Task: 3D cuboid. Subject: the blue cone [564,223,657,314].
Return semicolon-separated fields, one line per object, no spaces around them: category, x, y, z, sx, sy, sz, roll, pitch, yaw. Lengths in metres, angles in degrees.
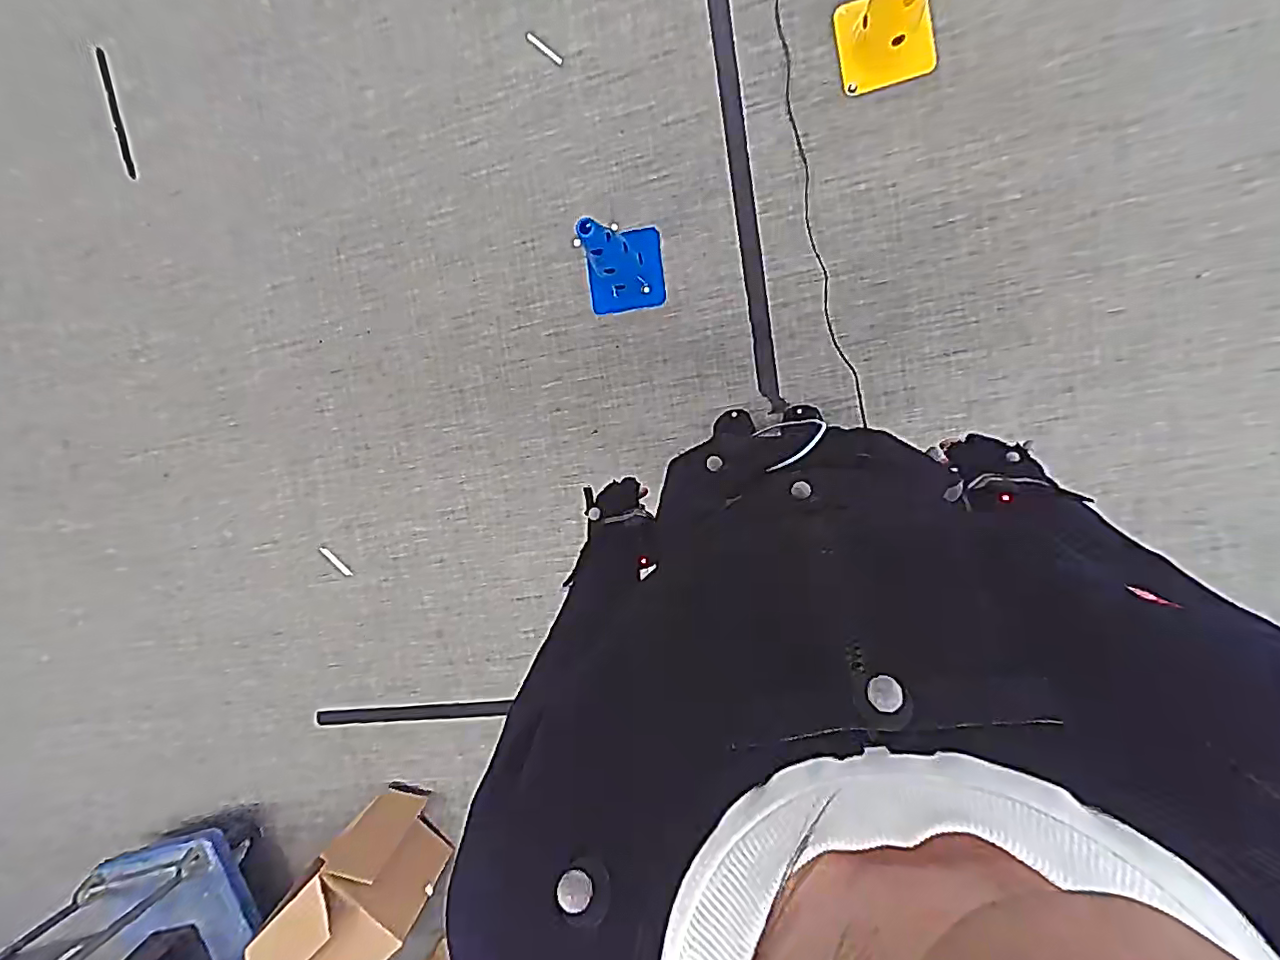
blue cone;-0.086;-0.523;1.263;0.192;0.380;0.193;-4;96;13
